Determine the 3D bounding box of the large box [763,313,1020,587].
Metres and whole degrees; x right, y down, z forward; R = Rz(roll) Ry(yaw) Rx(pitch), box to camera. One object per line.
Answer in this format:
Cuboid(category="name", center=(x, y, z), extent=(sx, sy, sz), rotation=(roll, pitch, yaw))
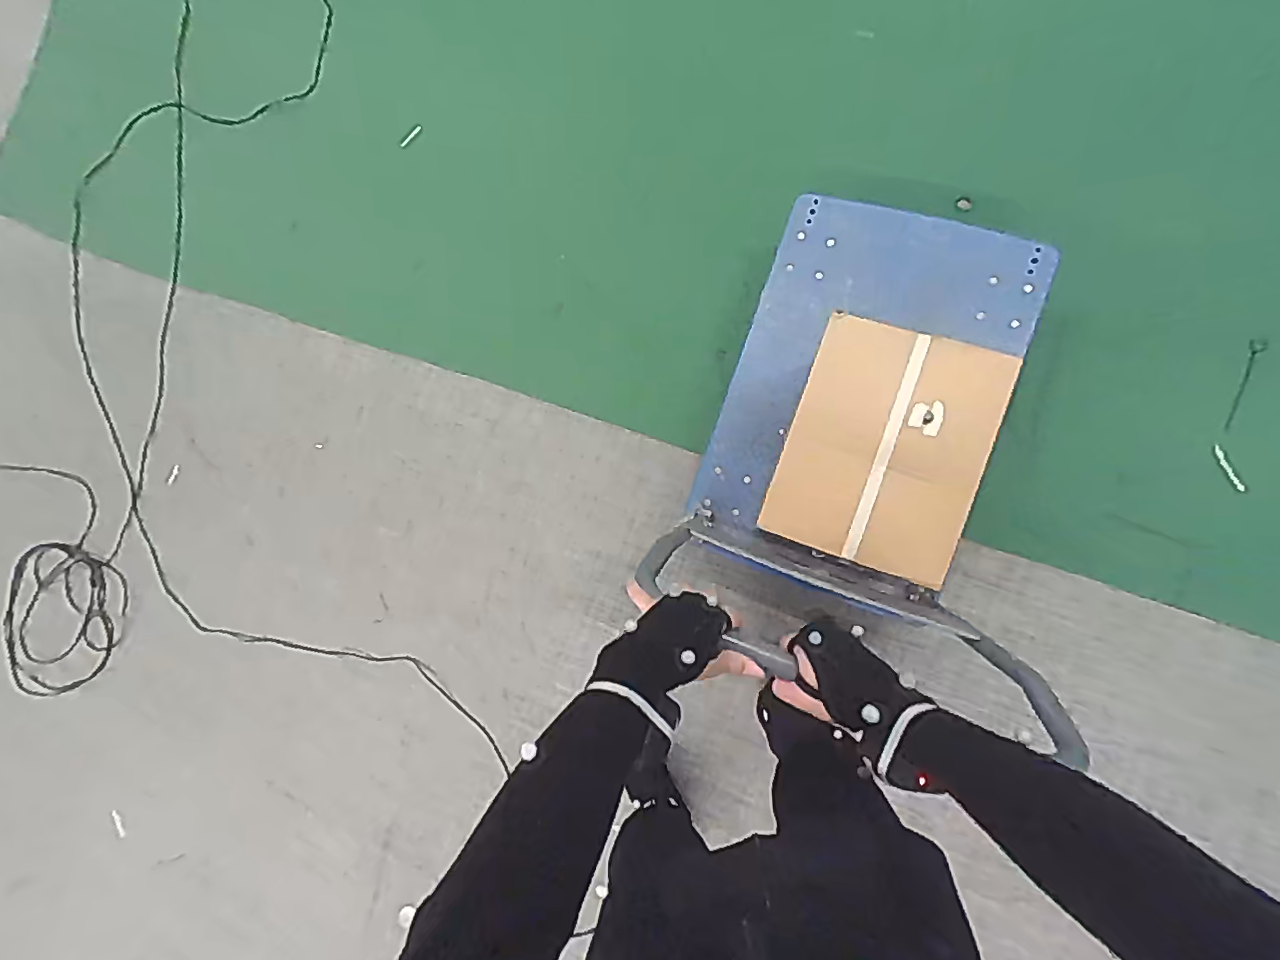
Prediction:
Cuboid(category="large box", center=(0.445, -0.046, 1.051), extent=(0.320, 0.320, 0.408), rotation=(20, 90, 12))
